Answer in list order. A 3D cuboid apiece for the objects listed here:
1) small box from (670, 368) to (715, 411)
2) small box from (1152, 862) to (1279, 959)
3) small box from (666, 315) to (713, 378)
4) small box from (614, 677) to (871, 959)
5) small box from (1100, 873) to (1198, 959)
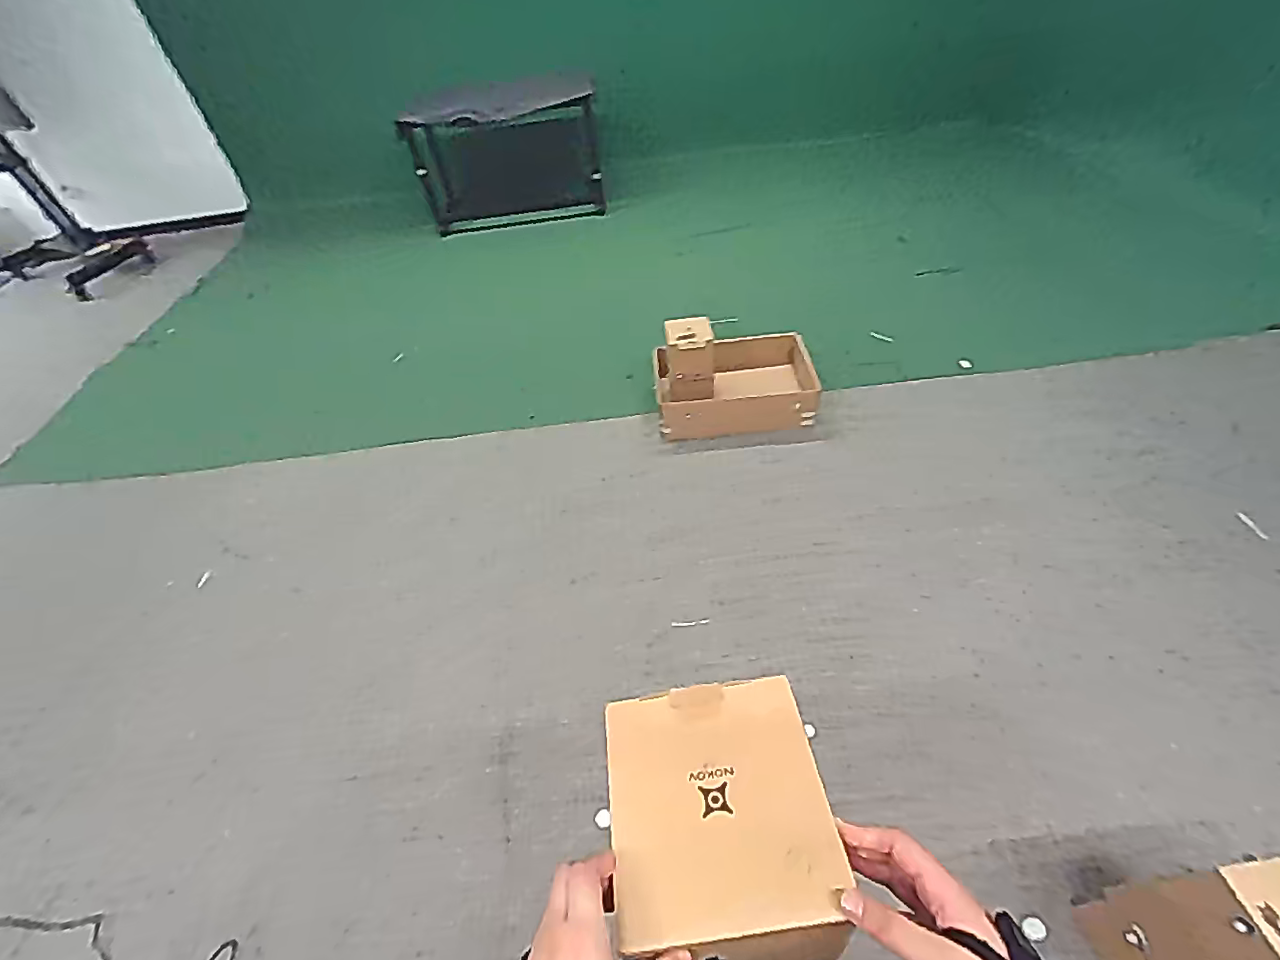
[{"bbox_3d":[0.212,-0.405,2.207,0.168,0.176,0.179,-7,47,1],"label":"small box"},{"bbox_3d":[0.909,0.654,0.768,0.179,0.176,0.168,-7,46,-1],"label":"small box"},{"bbox_3d":[0.192,-0.507,2.079,0.168,0.176,0.179,-5,47,1],"label":"small box"},{"bbox_3d":[0.075,0.301,0.463,0.168,0.176,0.179,-9,39,1],"label":"small box"},{"bbox_3d":[0.930,0.760,0.892,0.179,0.176,0.168,-9,46,1],"label":"small box"}]
